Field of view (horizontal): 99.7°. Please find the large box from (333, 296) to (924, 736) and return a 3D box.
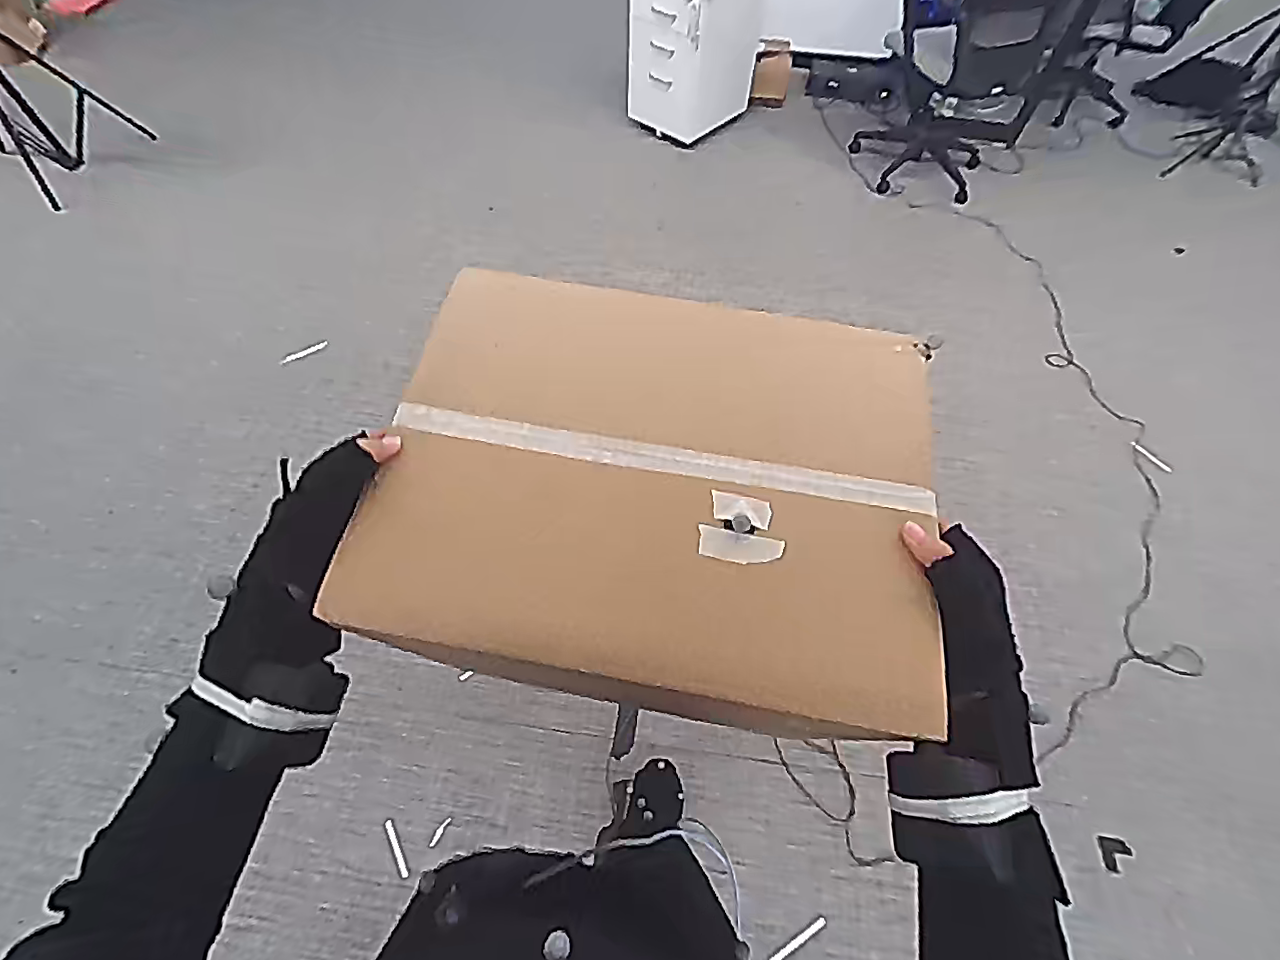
[{"bbox_3d":[0.006,0.060,0.550,0.408,0.320,0.320,10,66,3],"label":"large box"}]
